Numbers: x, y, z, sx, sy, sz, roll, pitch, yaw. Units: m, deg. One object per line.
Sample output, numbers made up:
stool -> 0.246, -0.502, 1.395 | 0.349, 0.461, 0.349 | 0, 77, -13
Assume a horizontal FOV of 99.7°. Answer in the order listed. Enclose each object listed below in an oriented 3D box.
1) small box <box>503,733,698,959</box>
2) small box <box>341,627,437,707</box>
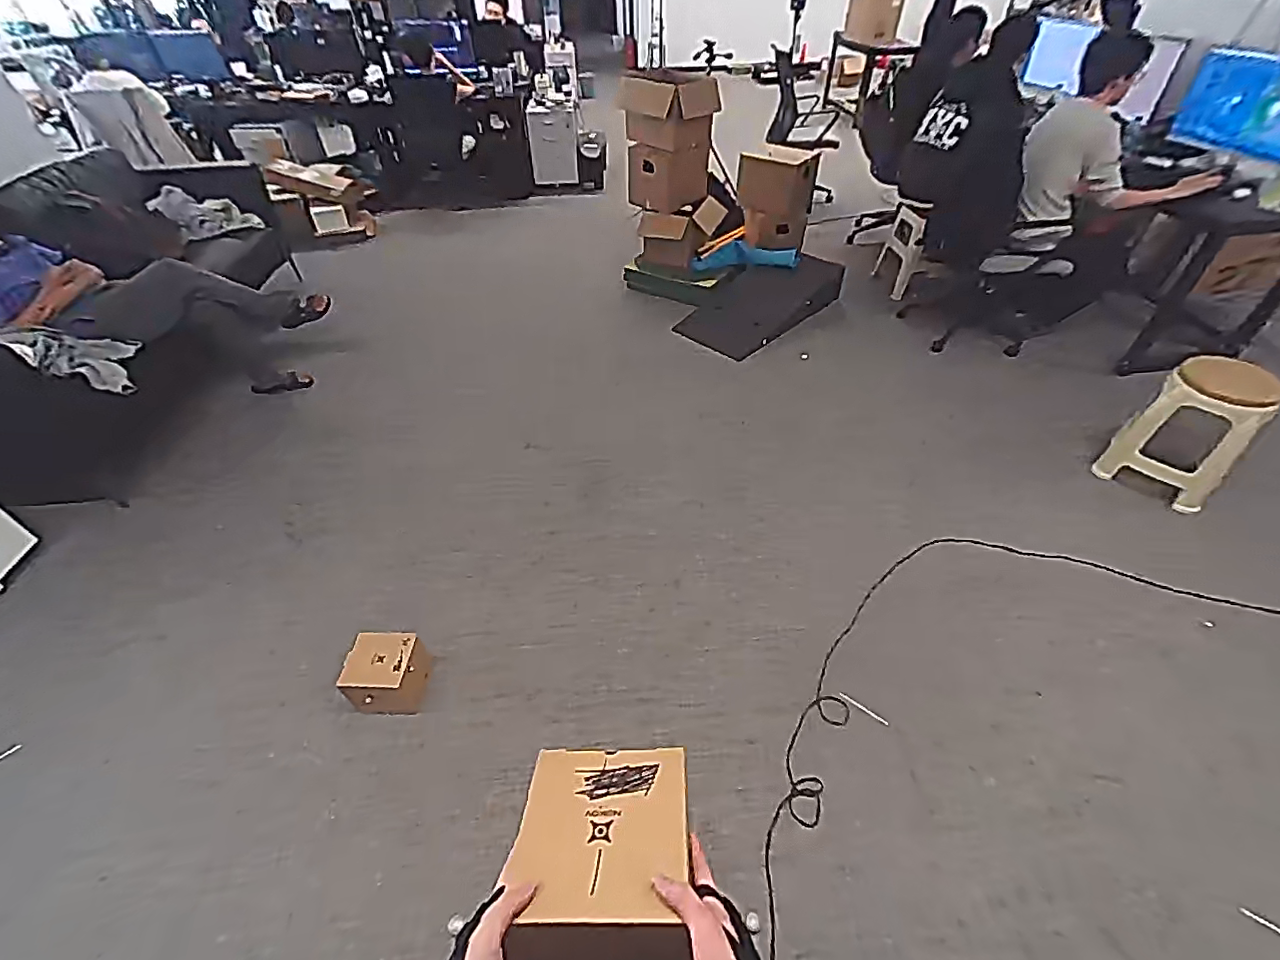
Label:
small box -> -0.027, 0.396, 0.567 | 0.168, 0.176, 0.179 | -4, 22, 5
small box -> -0.721, 0.547, 1.575 | 0.179, 0.176, 0.168 | 0, 43, 3
